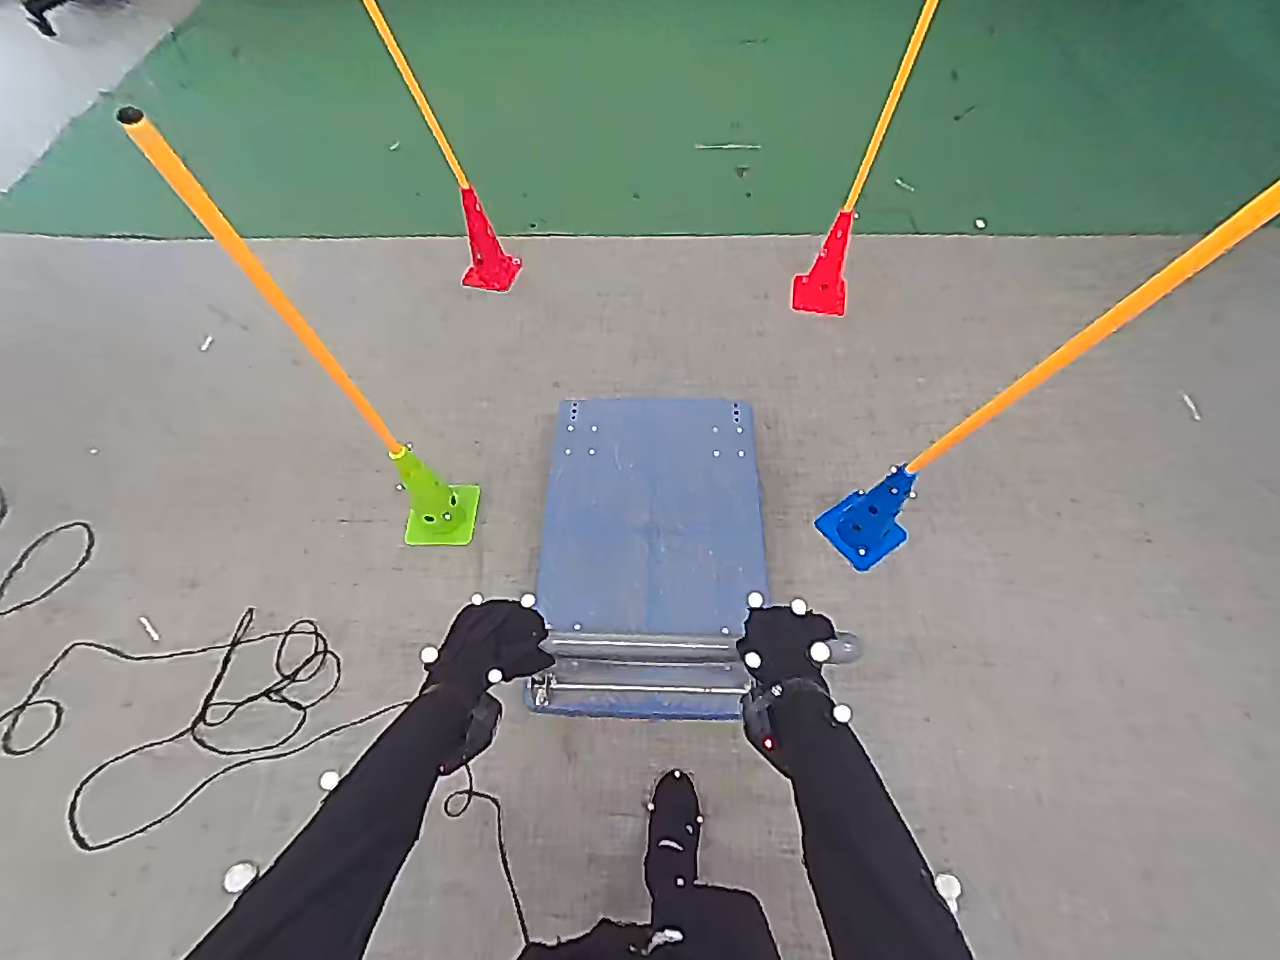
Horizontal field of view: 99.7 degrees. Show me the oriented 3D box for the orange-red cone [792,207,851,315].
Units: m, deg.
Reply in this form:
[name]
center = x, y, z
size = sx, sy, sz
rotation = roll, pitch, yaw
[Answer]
[orange-red cone]
center = 0.678, -0.790, 1.913
size = 0.198, 0.360, 0.199
rotation = 10, 62, 8
